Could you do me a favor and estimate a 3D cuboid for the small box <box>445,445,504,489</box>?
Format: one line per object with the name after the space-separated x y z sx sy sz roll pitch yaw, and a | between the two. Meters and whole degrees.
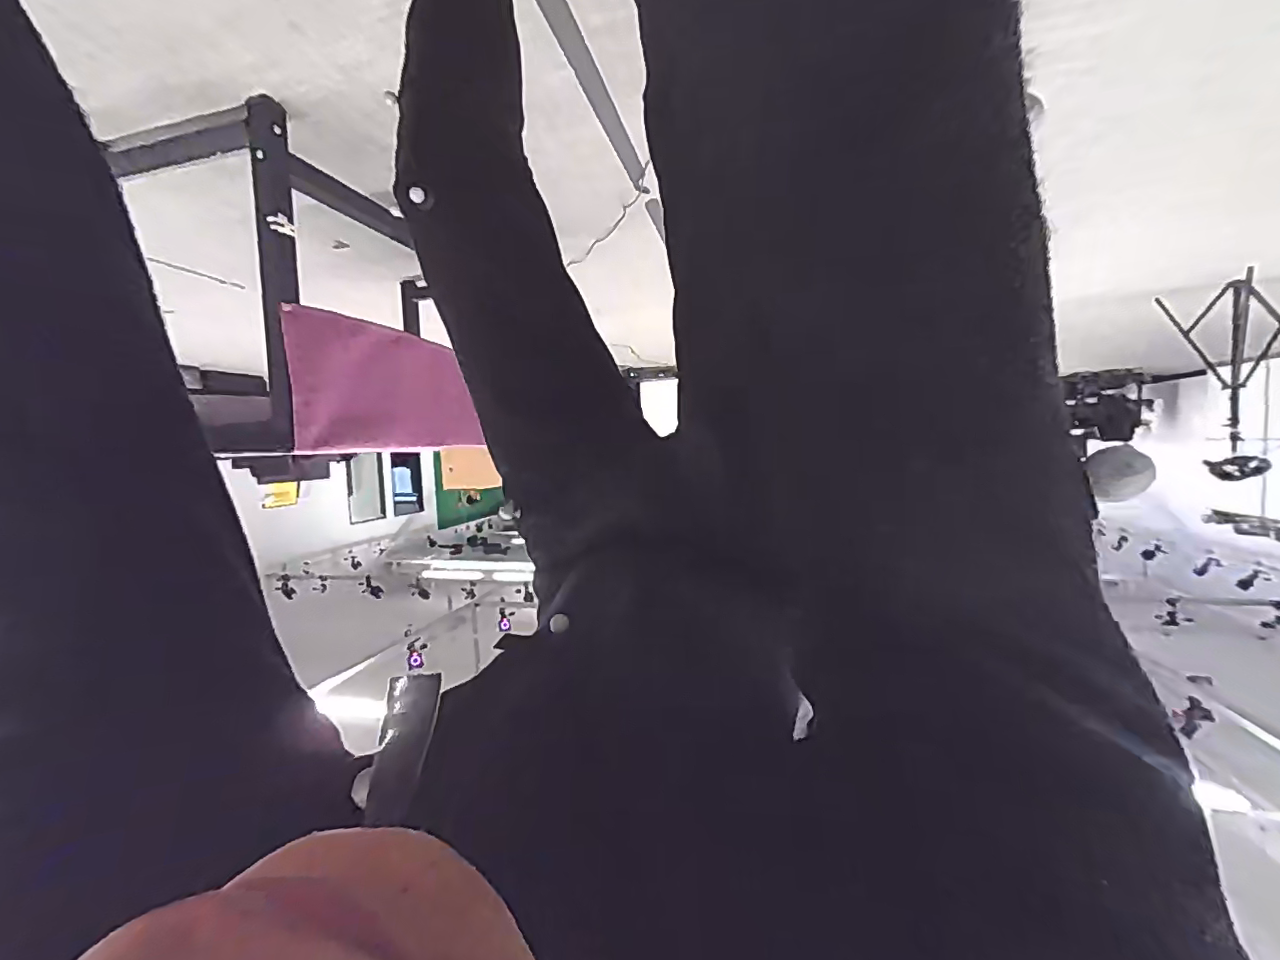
-0.671 -0.055 2.193 0.179 0.176 0.168 -1 -176 18 | small box
